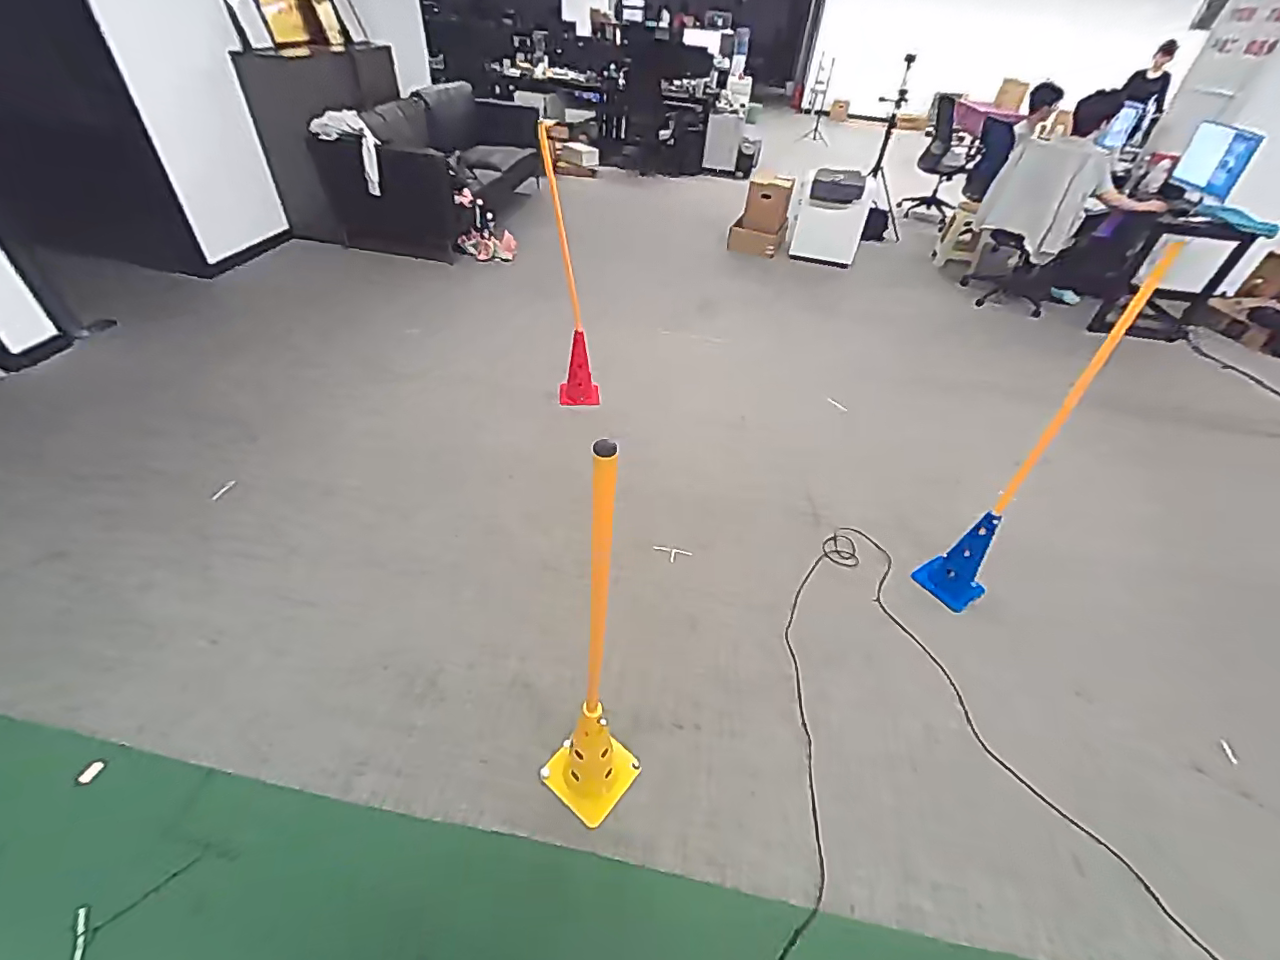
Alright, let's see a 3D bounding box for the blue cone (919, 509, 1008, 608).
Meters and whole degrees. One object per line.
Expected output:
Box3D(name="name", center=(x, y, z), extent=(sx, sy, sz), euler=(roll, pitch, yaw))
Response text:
Box3D(name="blue cone", center=(1.152, 0.245, 1.875), extent=(0.193, 0.380, 0.192), euler=(-21, 47, -30))
